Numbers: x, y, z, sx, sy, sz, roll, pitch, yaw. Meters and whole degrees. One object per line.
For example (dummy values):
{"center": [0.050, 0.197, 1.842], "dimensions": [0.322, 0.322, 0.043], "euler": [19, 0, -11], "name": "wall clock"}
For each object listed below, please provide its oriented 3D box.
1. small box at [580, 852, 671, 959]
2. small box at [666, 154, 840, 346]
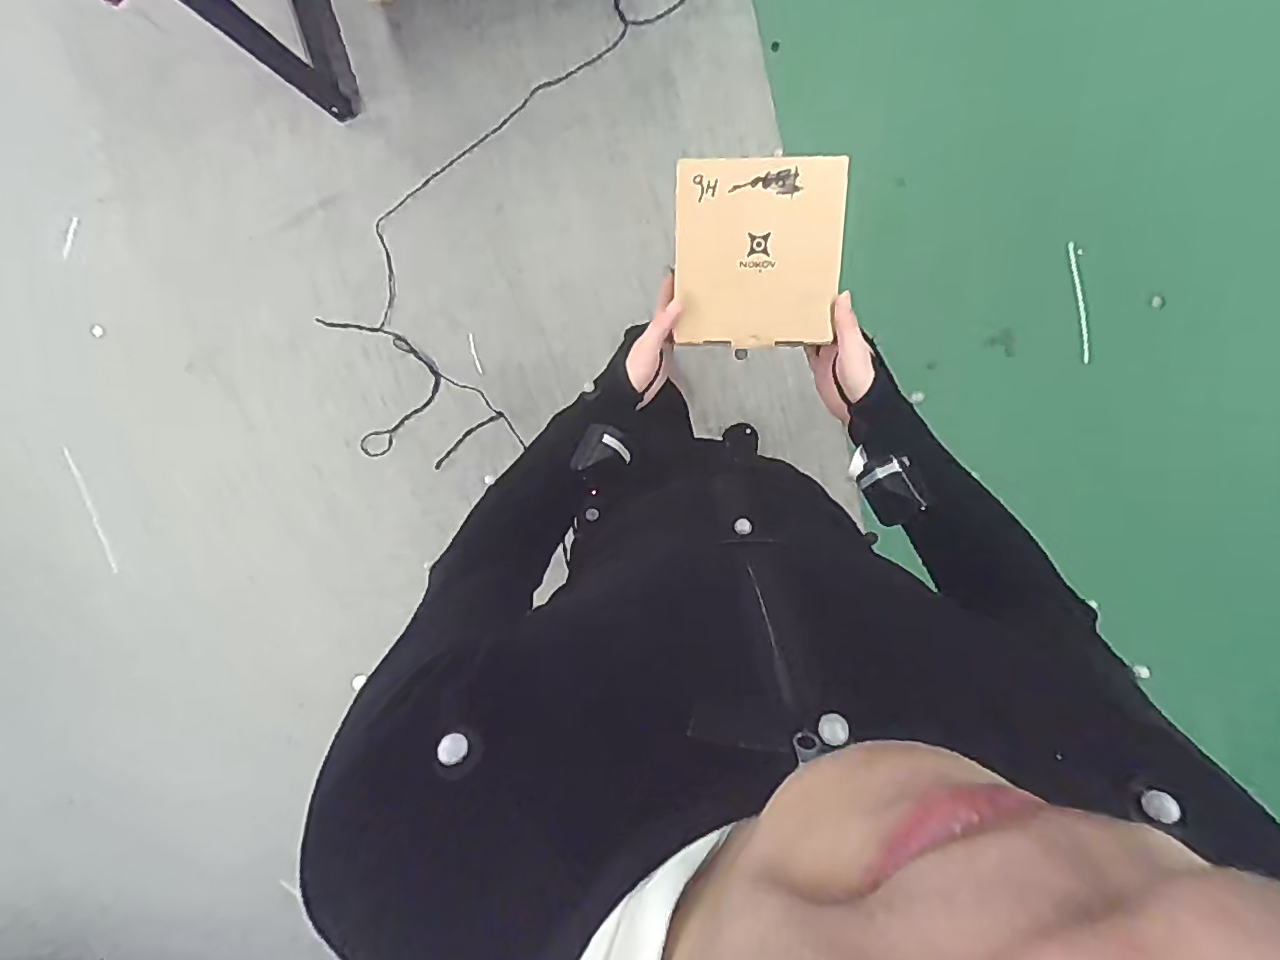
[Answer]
{"center": [-0.027, 1.034, 1.288], "dimensions": [0.168, 0.176, 0.179], "euler": [-12, 94, 10], "name": "small box"}
{"center": [0.115, -0.245, 0.613], "dimensions": [0.168, 0.176, 0.179], "euler": [0, 104, 4], "name": "small box"}
